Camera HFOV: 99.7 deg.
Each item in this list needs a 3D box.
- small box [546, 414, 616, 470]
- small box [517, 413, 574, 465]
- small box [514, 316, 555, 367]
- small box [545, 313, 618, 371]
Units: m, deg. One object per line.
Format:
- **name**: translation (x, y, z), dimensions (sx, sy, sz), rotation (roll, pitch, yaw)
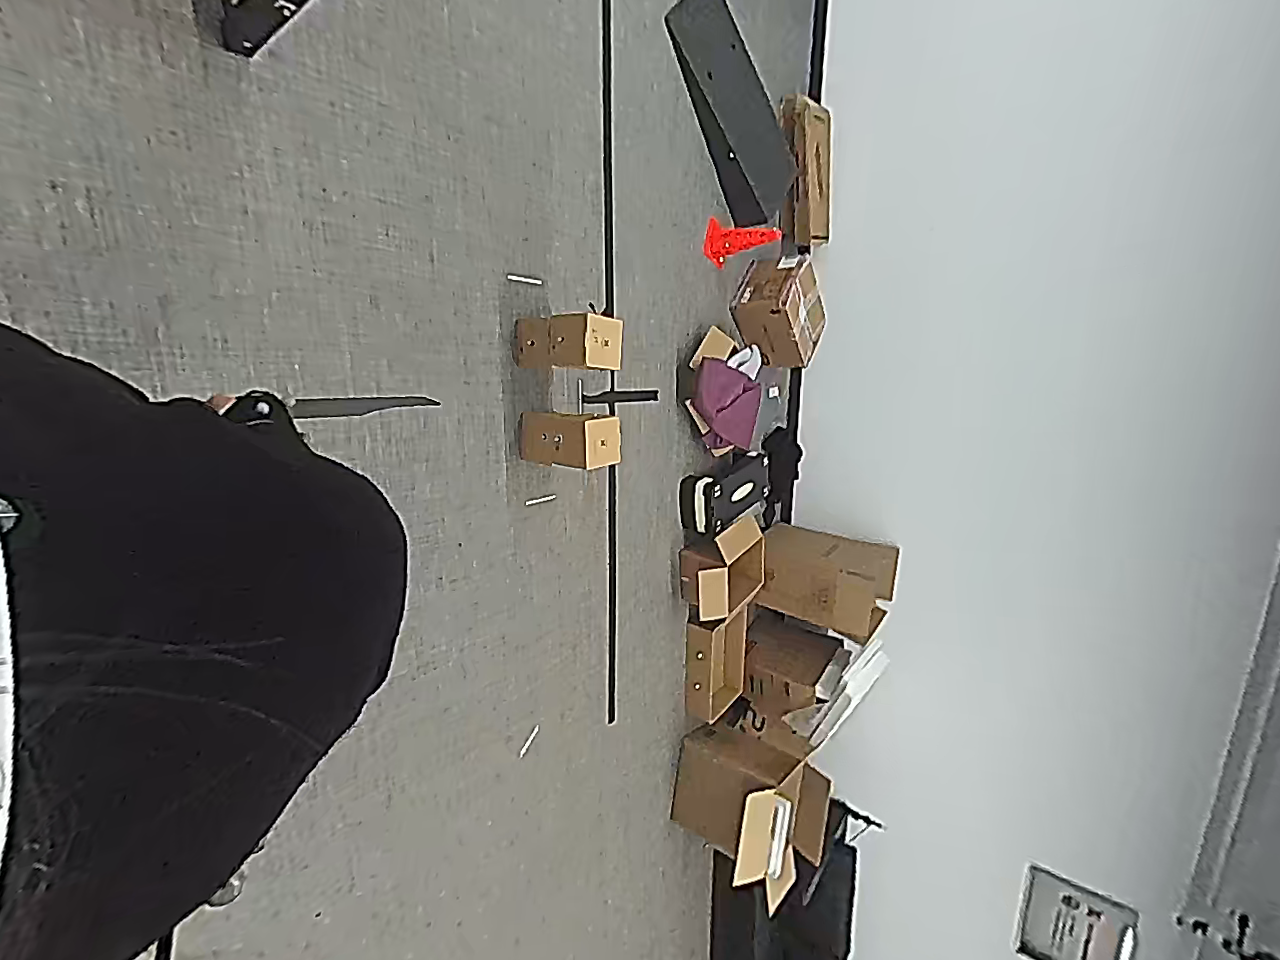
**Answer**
- **small box**: translation (-0.204, -0.138, 1.880), dimensions (0.179, 0.176, 0.168), rotation (-17, 110, -49)
- **small box**: translation (-0.333, -0.155, 1.977), dimensions (0.168, 0.176, 0.179), rotation (-11, 107, -51)
- **small box**: translation (-0.329, -0.482, 1.902), dimensions (0.179, 0.176, 0.168), rotation (-16, 110, -50)
- **small box**: translation (-0.196, -0.458, 1.806), dimensions (0.179, 0.176, 0.168), rotation (-8, 103, -52)
